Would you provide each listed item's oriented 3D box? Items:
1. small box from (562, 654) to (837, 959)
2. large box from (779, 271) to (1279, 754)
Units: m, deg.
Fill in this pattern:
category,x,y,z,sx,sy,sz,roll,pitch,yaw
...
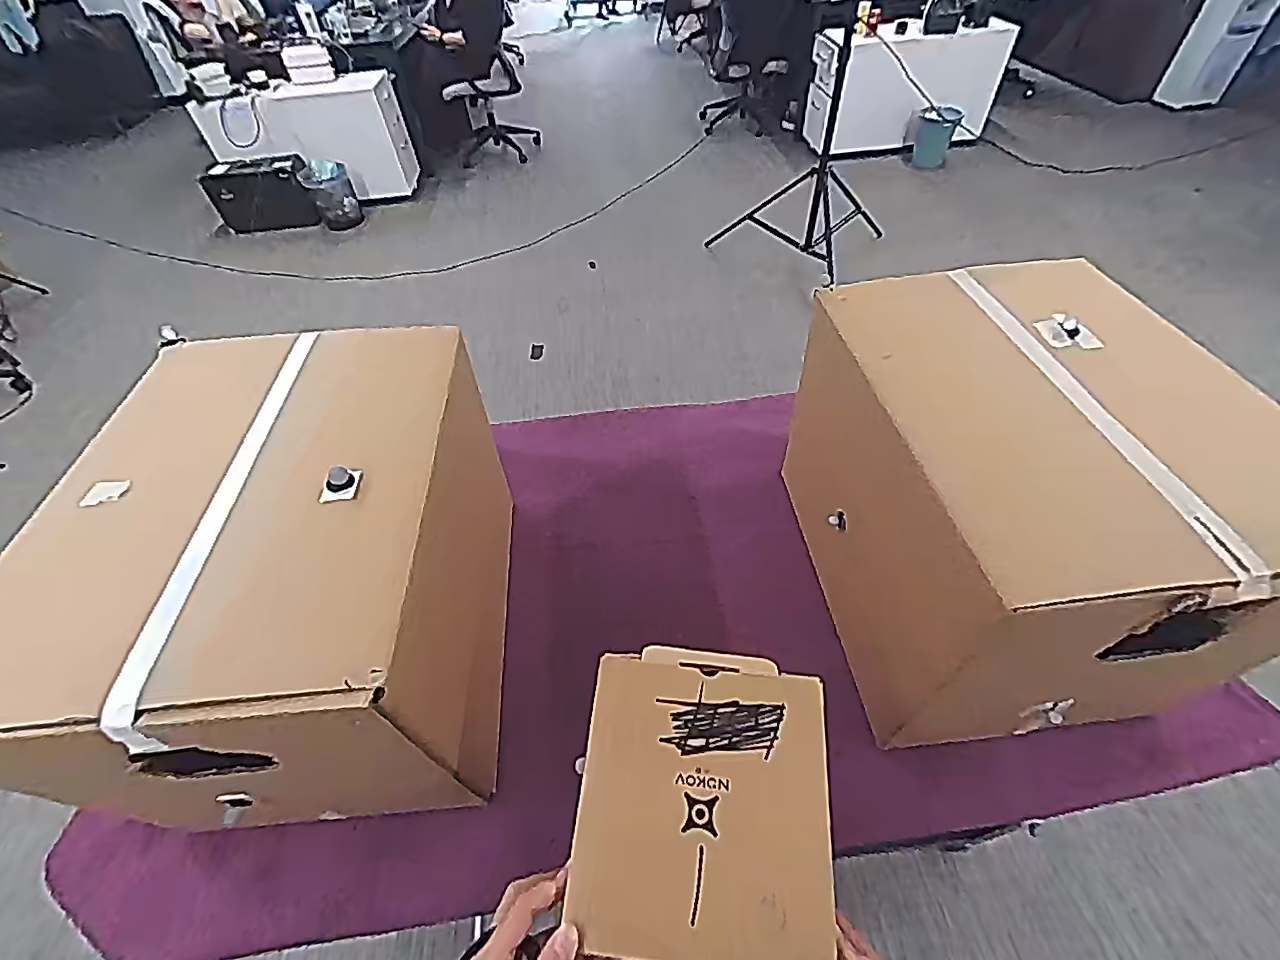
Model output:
category,x,y,z,sx,sy,sz,roll,pitch,yaw
small box,0.046,0.255,0.427,0.168,0.176,0.179,4,58,6
large box,0.371,0.025,0.592,0.320,0.320,0.408,-7,47,-2
